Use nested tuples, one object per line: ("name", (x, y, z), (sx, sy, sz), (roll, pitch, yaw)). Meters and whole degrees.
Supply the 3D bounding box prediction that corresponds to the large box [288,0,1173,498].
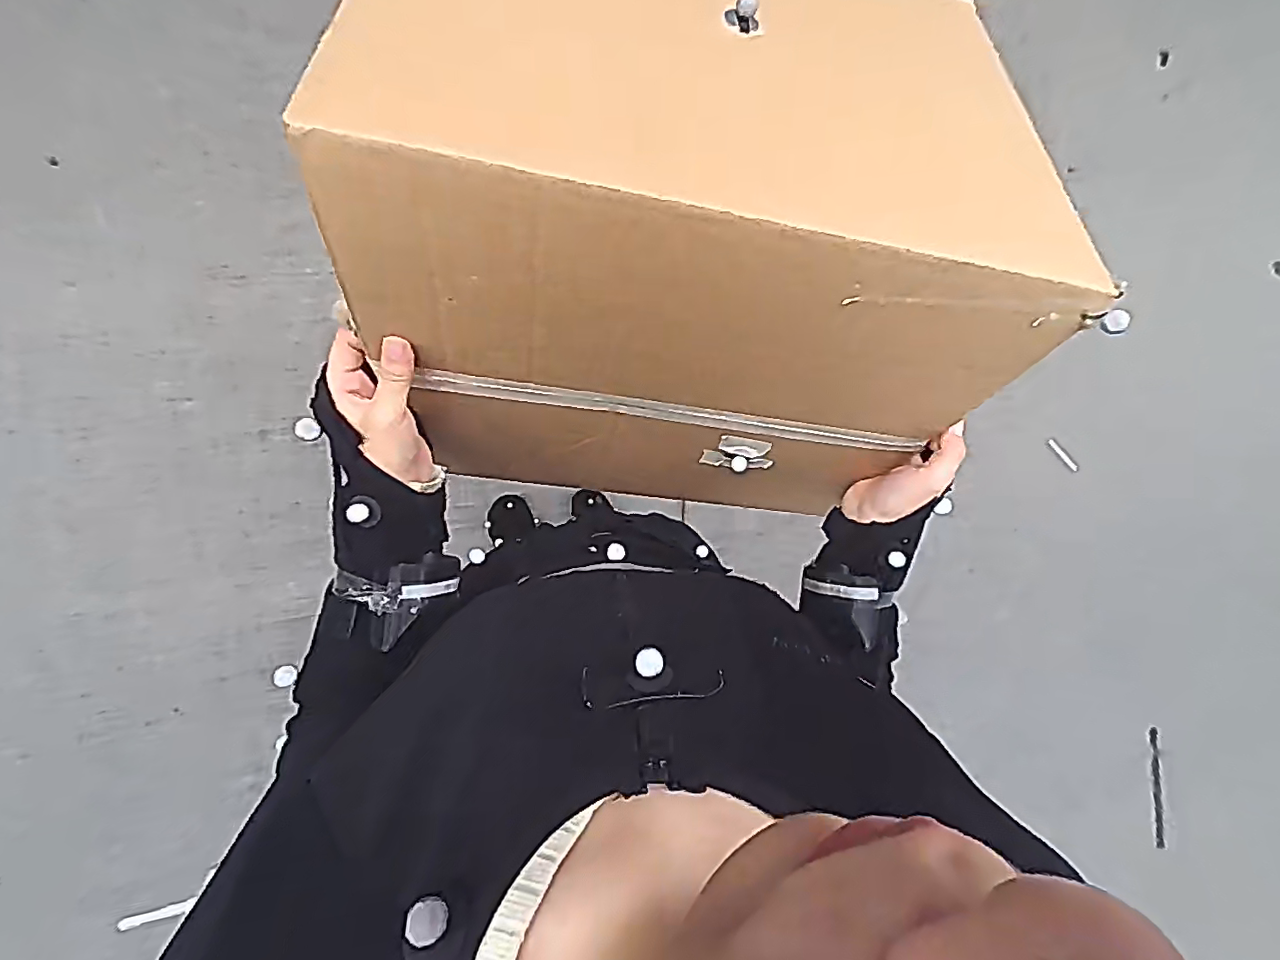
("large box", (0.035, -0.200, 0.426), (0.408, 0.320, 0.320), (5, 64, -10))
